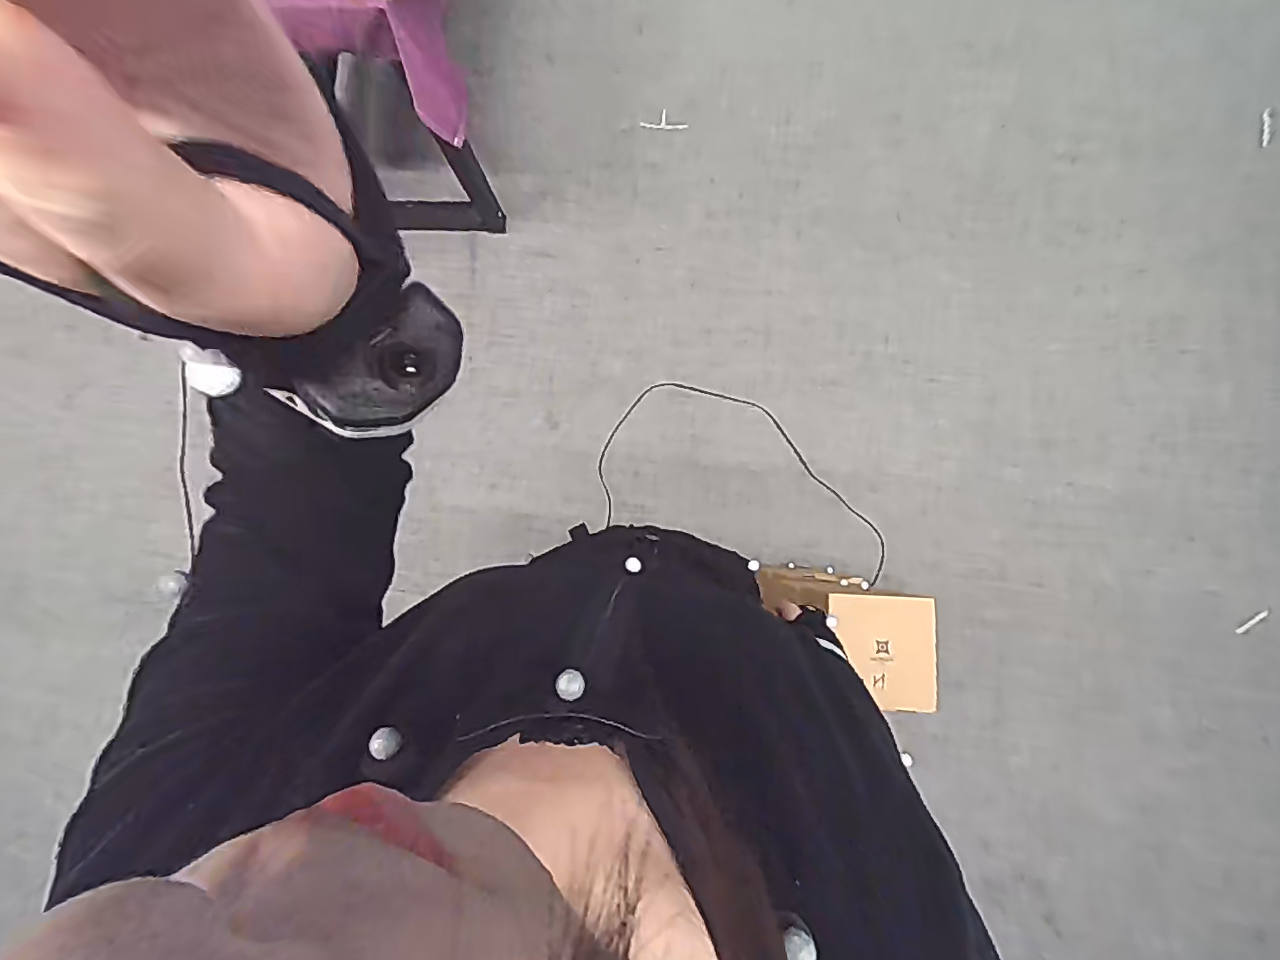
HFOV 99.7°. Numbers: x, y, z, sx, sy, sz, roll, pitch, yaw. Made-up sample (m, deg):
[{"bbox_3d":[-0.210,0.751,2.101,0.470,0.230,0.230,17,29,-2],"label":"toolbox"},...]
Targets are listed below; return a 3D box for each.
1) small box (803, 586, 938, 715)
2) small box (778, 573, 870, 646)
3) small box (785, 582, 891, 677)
[{"bbox_3d":[0.379,0.275,0.914,0.168,0.176,0.179,3,84,4],"label":"small box"},{"bbox_3d":[0.414,0.308,1.239,0.168,0.176,0.179,2,85,4],"label":"small box"},{"bbox_3d":[0.392,0.296,1.077,0.179,0.176,0.168,3,84,3],"label":"small box"}]
